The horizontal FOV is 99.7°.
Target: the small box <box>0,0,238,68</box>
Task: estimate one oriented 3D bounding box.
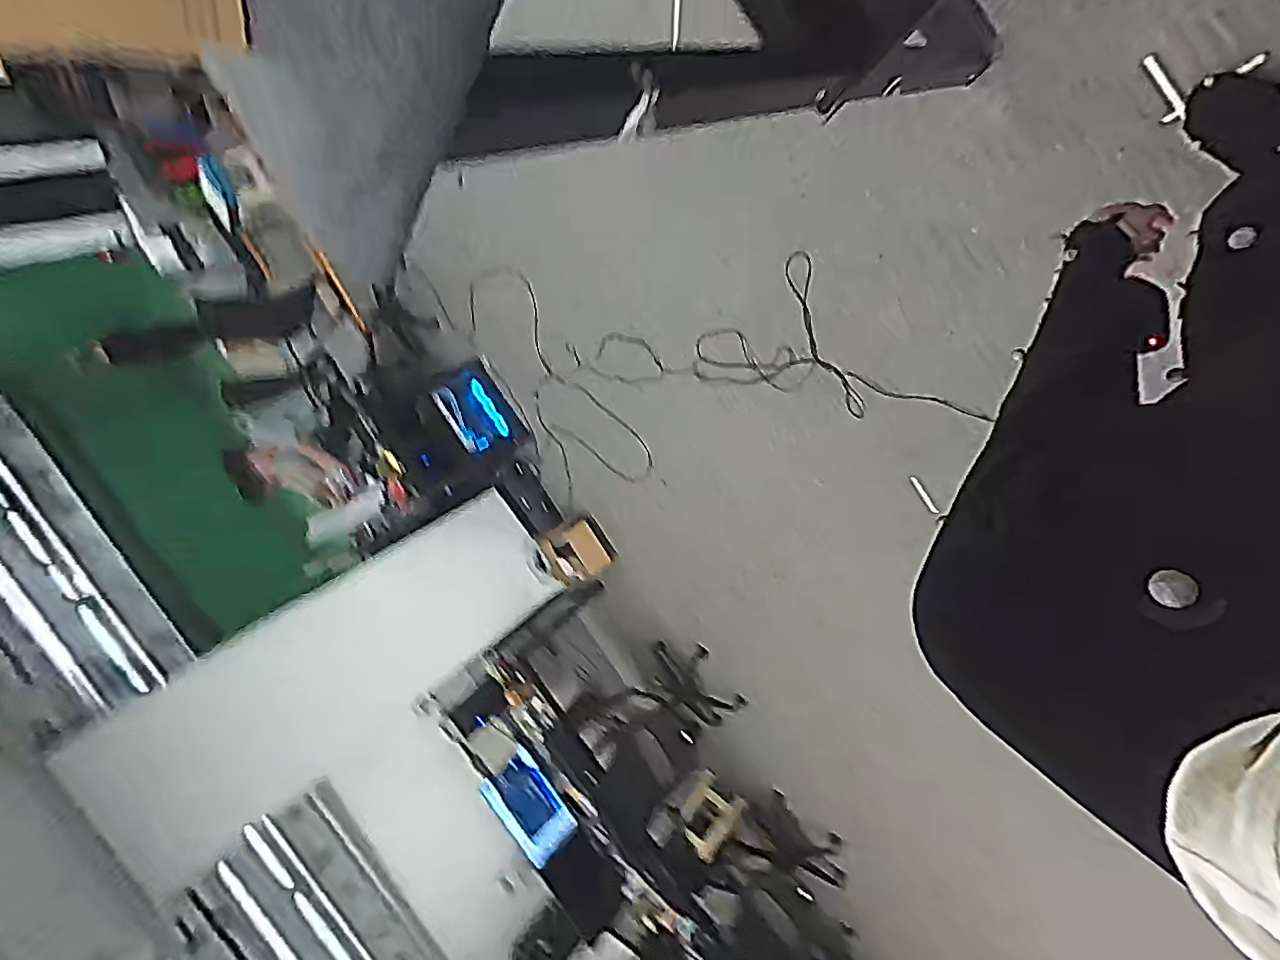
[{"bbox_3d":[-0.281,-0.289,0.196,0.168,0.176,0.179,54,143,2],"label":"small box"}]
